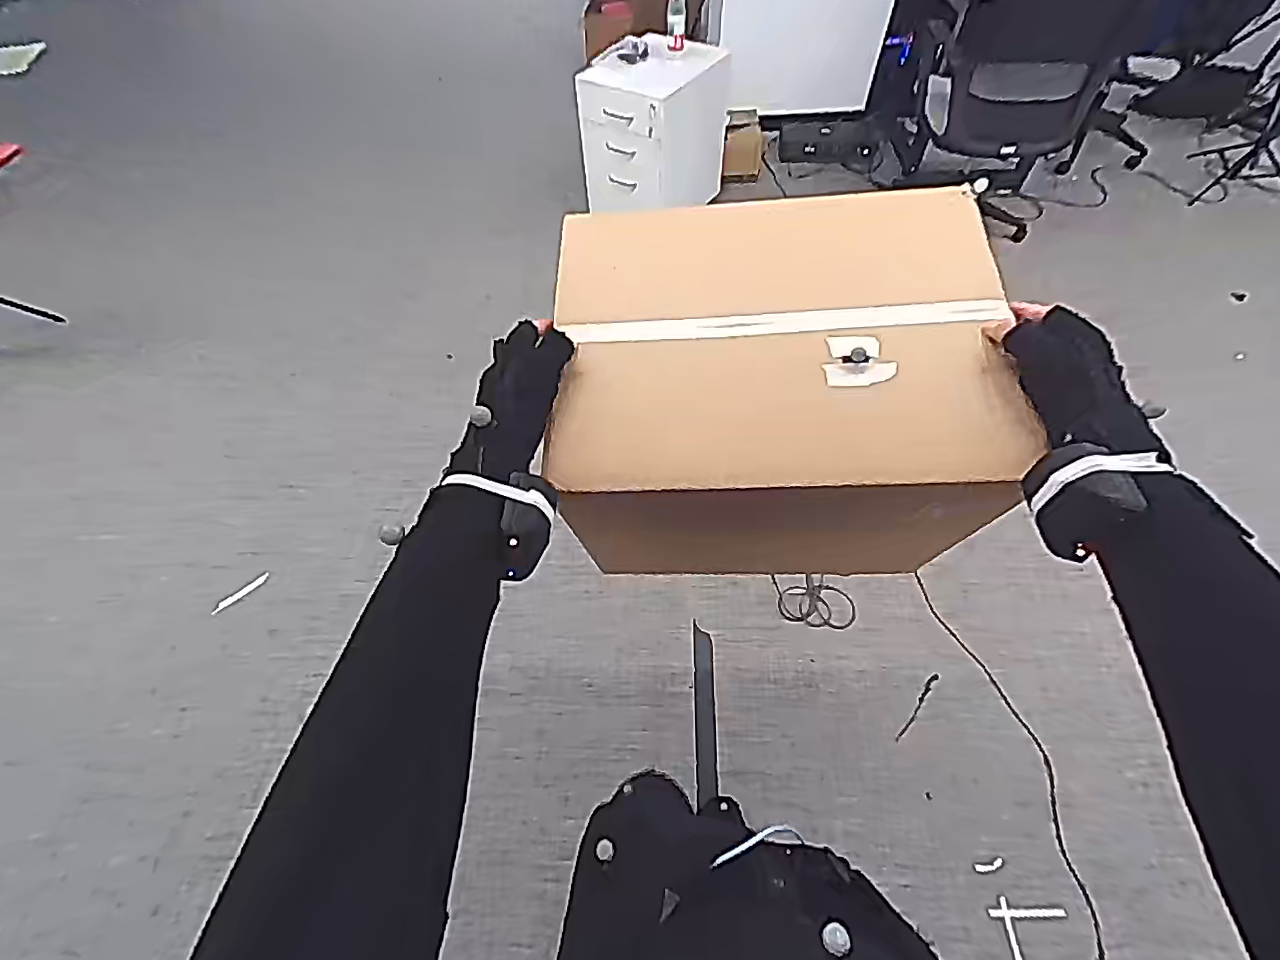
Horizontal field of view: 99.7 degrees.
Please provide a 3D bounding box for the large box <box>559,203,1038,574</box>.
[{"bbox_3d":[0.138,-0.077,0.644,0.408,0.320,0.320,-1,68,5],"label":"large box"}]
